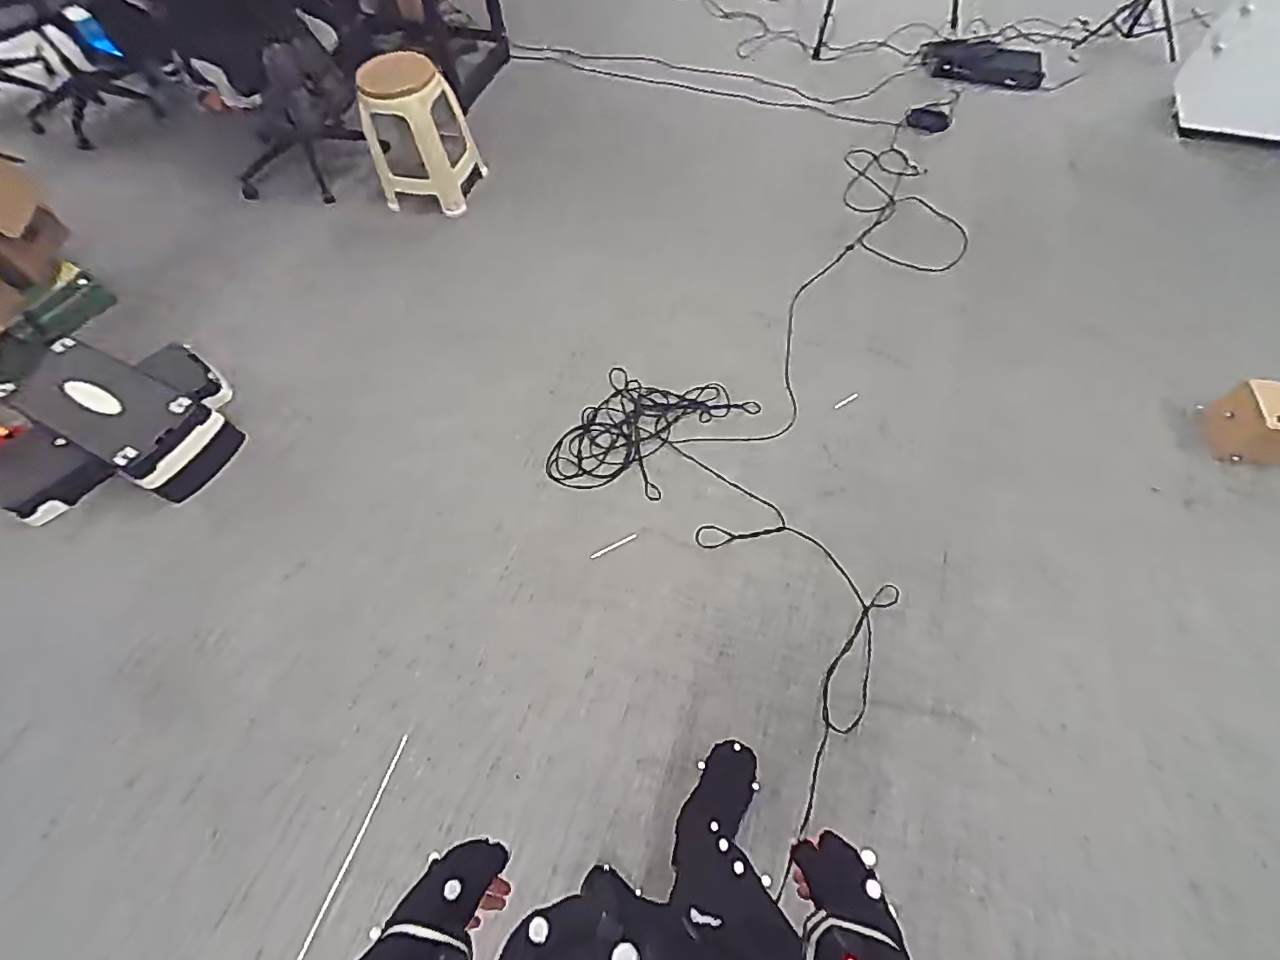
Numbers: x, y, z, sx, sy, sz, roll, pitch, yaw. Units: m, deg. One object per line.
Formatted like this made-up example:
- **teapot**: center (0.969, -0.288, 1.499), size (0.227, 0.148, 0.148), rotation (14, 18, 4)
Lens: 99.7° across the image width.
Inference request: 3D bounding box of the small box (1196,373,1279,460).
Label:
- **small box**: center (1.762, -0.176, 1.539), size (0.168, 0.176, 0.179), rotation (8, 61, 7)
